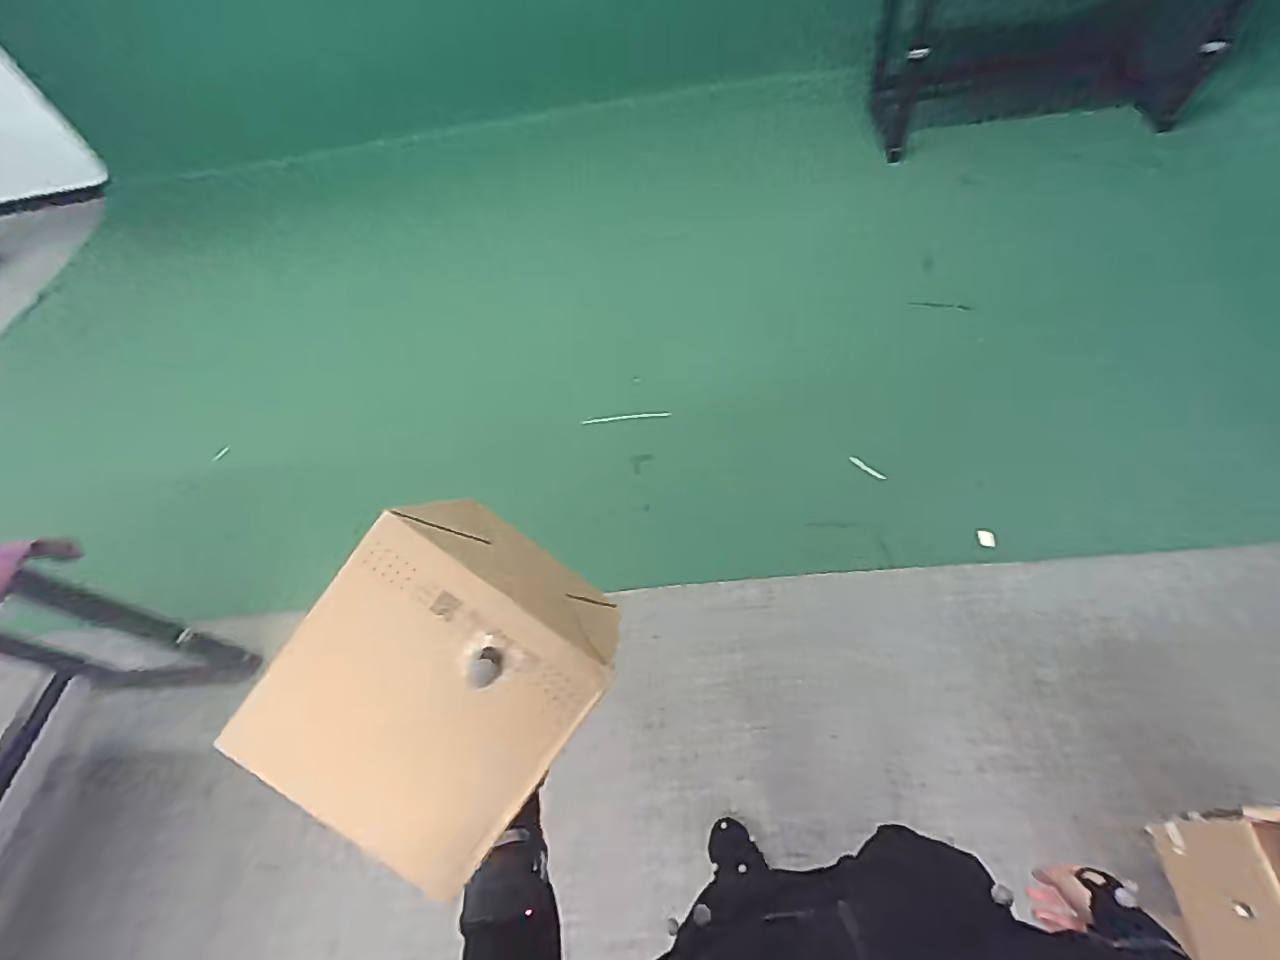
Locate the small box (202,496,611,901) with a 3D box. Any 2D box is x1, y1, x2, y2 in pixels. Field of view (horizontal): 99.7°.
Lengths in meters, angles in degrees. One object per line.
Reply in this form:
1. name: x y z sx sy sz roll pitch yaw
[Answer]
1. small box: -0.133 0.124 0.385 0.168 0.179 0.176 35 88 -3
